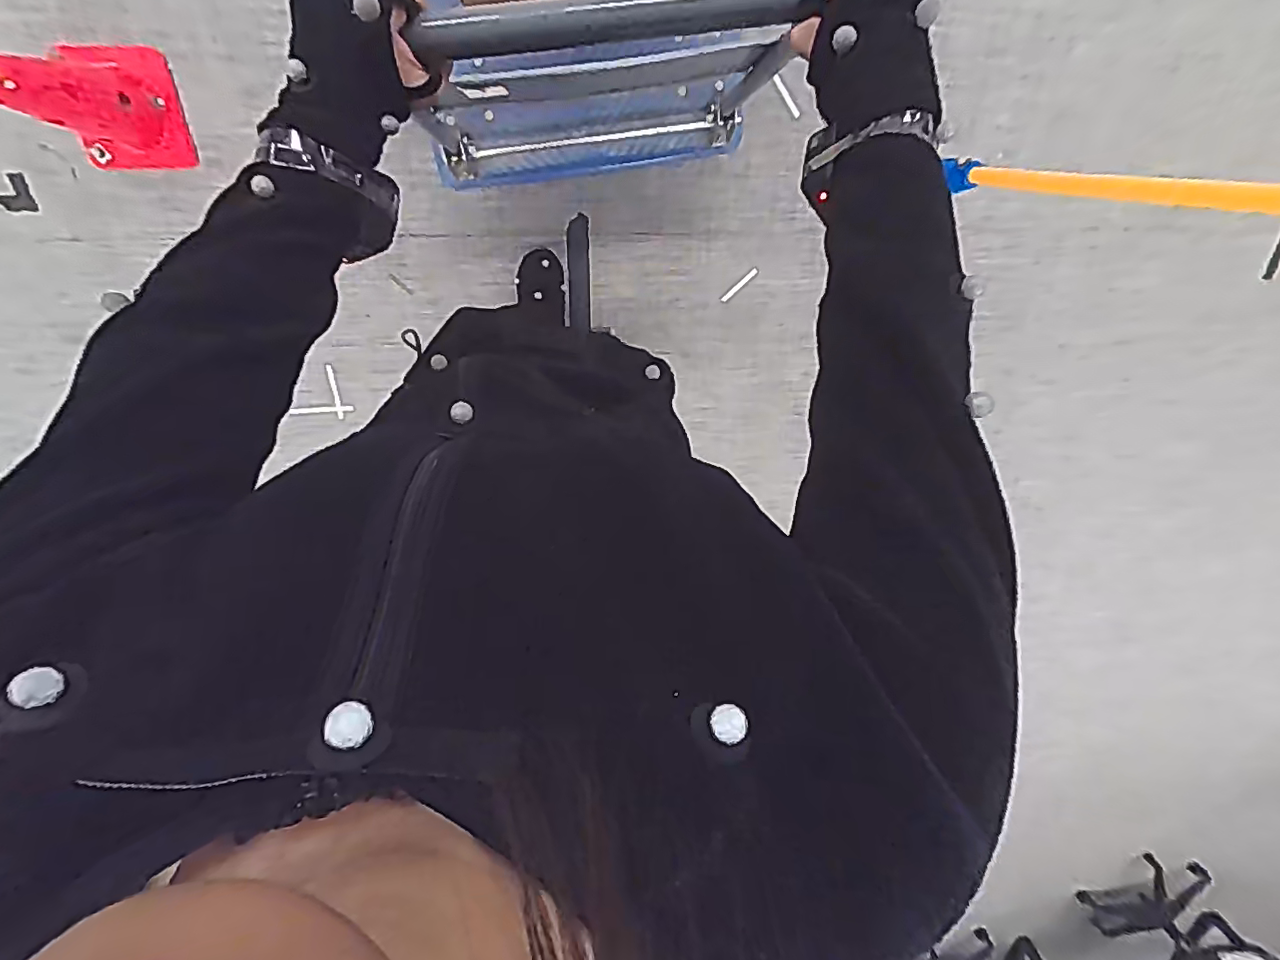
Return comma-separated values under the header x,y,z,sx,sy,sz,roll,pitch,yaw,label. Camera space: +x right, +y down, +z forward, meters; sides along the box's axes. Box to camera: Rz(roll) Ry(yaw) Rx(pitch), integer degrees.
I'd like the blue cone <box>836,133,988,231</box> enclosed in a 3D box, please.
x,y,z,sx,sy,sz,roll,pitch,yaw,label
0.562,-0.614,1.098,0.193,0.380,0.192,-6,115,-4,blue cone
